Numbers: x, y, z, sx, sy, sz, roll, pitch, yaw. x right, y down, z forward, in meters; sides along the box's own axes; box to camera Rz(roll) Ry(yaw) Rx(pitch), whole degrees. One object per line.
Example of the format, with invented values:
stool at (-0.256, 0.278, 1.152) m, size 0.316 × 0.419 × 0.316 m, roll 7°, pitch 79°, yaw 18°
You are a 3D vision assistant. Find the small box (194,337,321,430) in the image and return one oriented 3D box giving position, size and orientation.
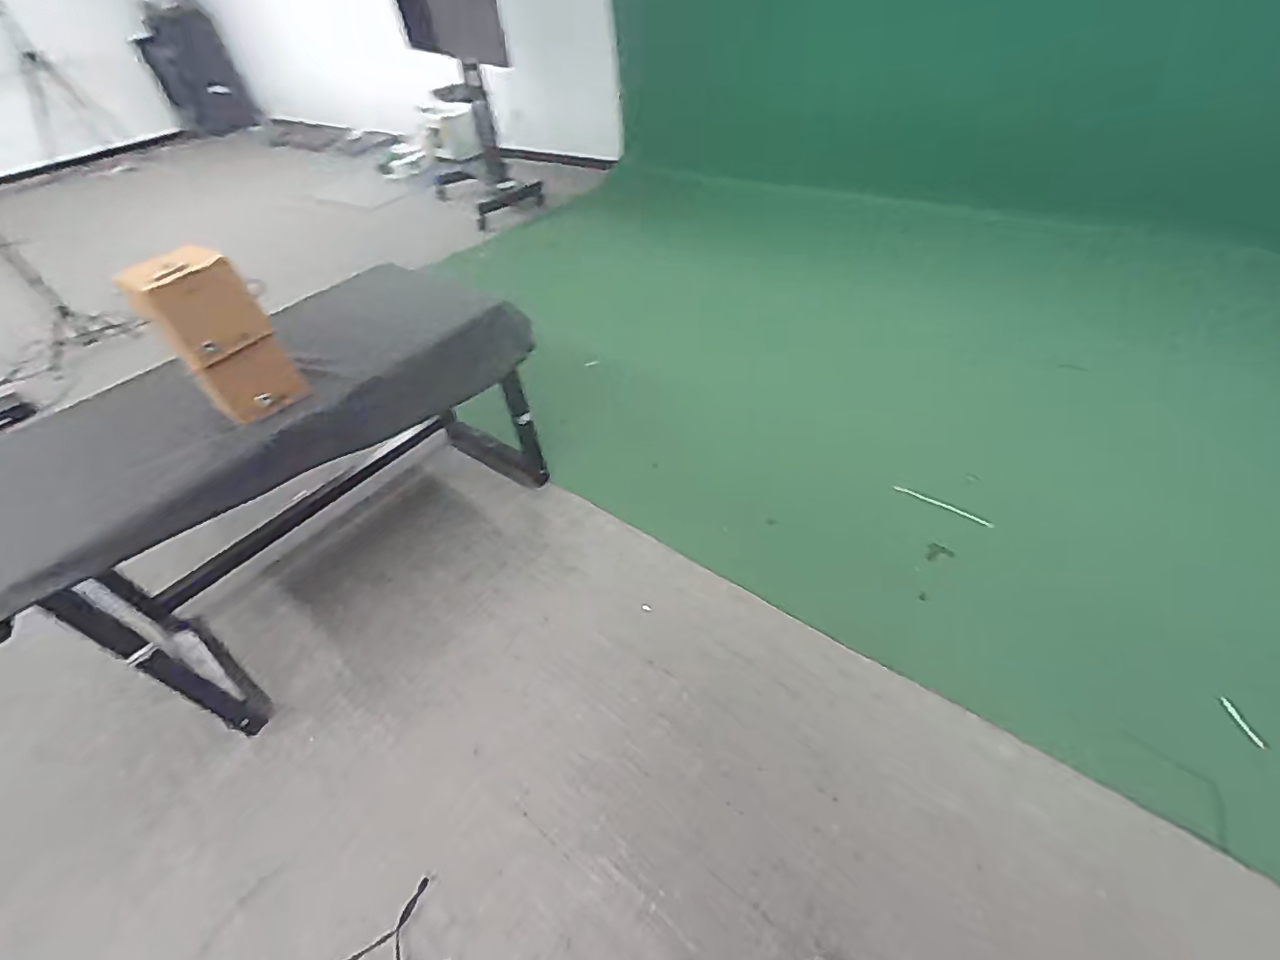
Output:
small box at (-0.898, -0.243, 1.268) m, size 0.179 × 0.176 × 0.168 m, roll 27°, pitch 55°, yaw 30°

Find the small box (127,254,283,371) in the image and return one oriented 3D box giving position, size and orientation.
small box at (-0.911, -0.353, 1.147) m, size 0.179 × 0.176 × 0.168 m, roll 22°, pitch 53°, yaw 30°
